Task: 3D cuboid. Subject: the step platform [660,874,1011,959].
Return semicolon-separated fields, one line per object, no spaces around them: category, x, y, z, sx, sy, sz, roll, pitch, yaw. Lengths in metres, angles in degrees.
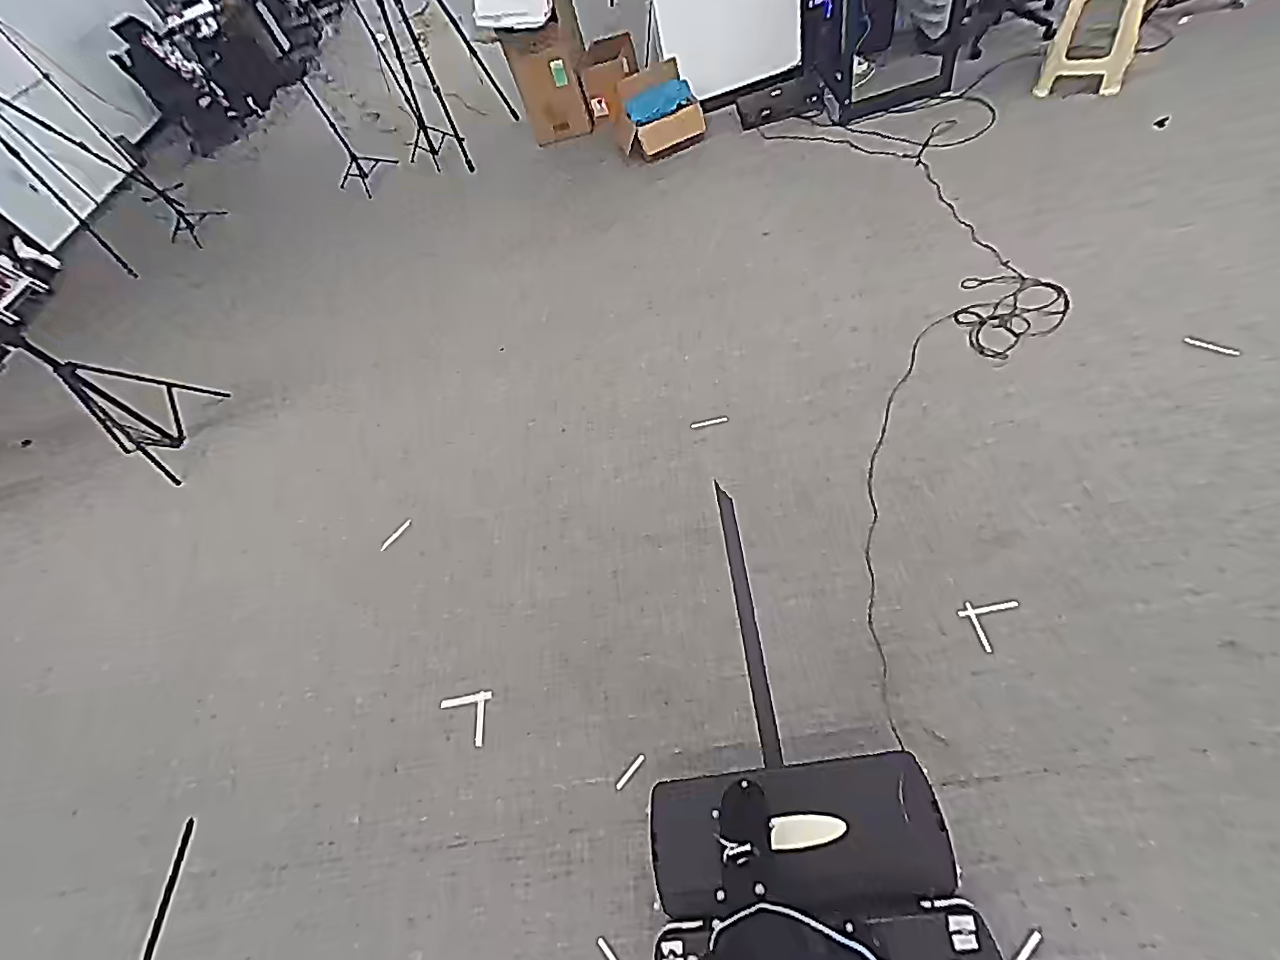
step platform;0.383;1.008;1.091;0.684;0.204;0.286;-14;53;10
